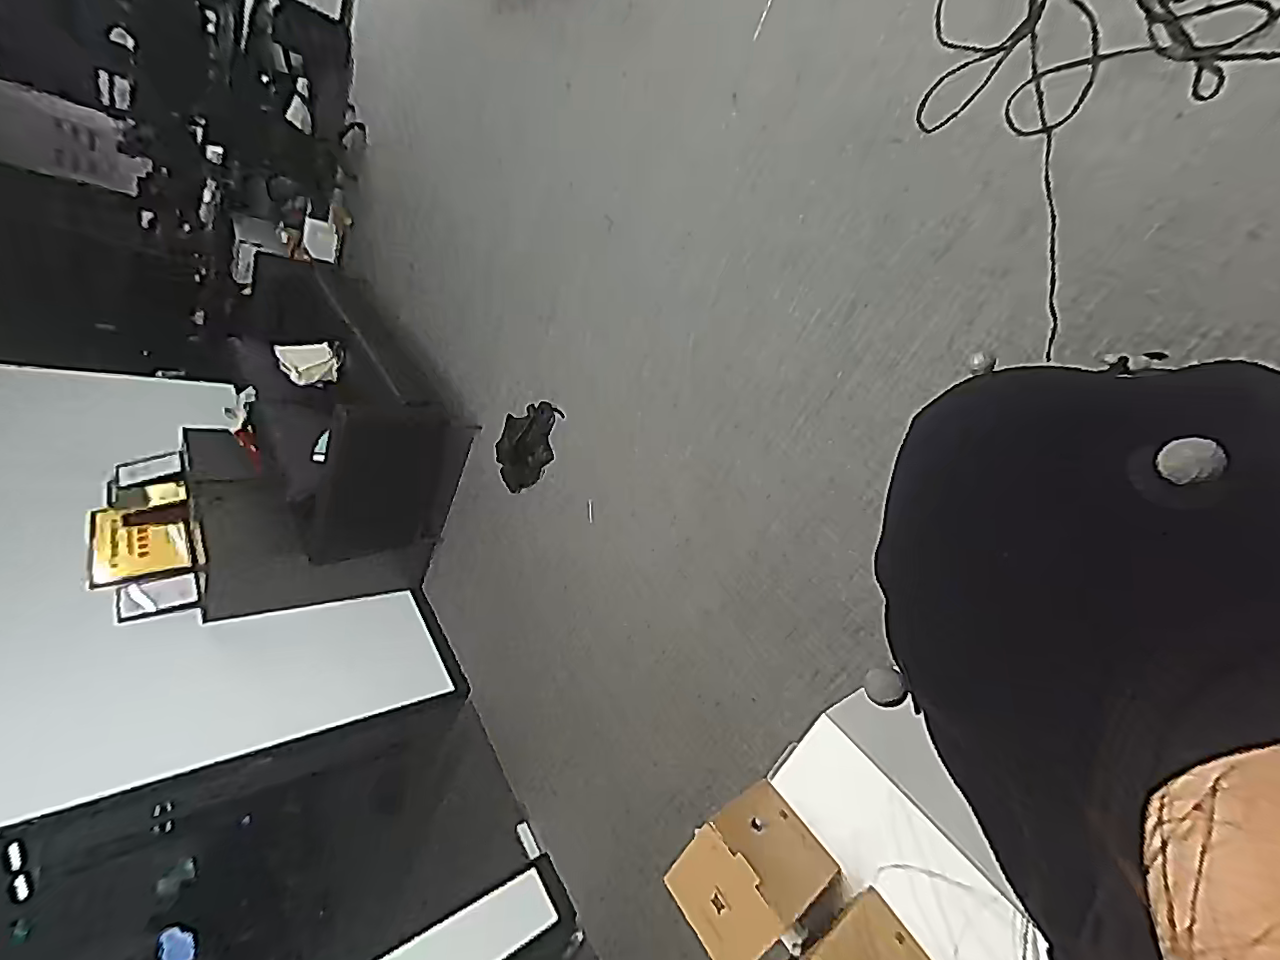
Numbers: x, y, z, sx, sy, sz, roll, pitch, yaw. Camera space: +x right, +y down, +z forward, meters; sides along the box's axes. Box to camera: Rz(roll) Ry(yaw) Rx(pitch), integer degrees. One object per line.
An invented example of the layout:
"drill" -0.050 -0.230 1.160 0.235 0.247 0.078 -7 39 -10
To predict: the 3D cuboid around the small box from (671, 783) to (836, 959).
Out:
"small box" 0.187 0.633 0.873 0.168 0.176 0.179 44 121 38
